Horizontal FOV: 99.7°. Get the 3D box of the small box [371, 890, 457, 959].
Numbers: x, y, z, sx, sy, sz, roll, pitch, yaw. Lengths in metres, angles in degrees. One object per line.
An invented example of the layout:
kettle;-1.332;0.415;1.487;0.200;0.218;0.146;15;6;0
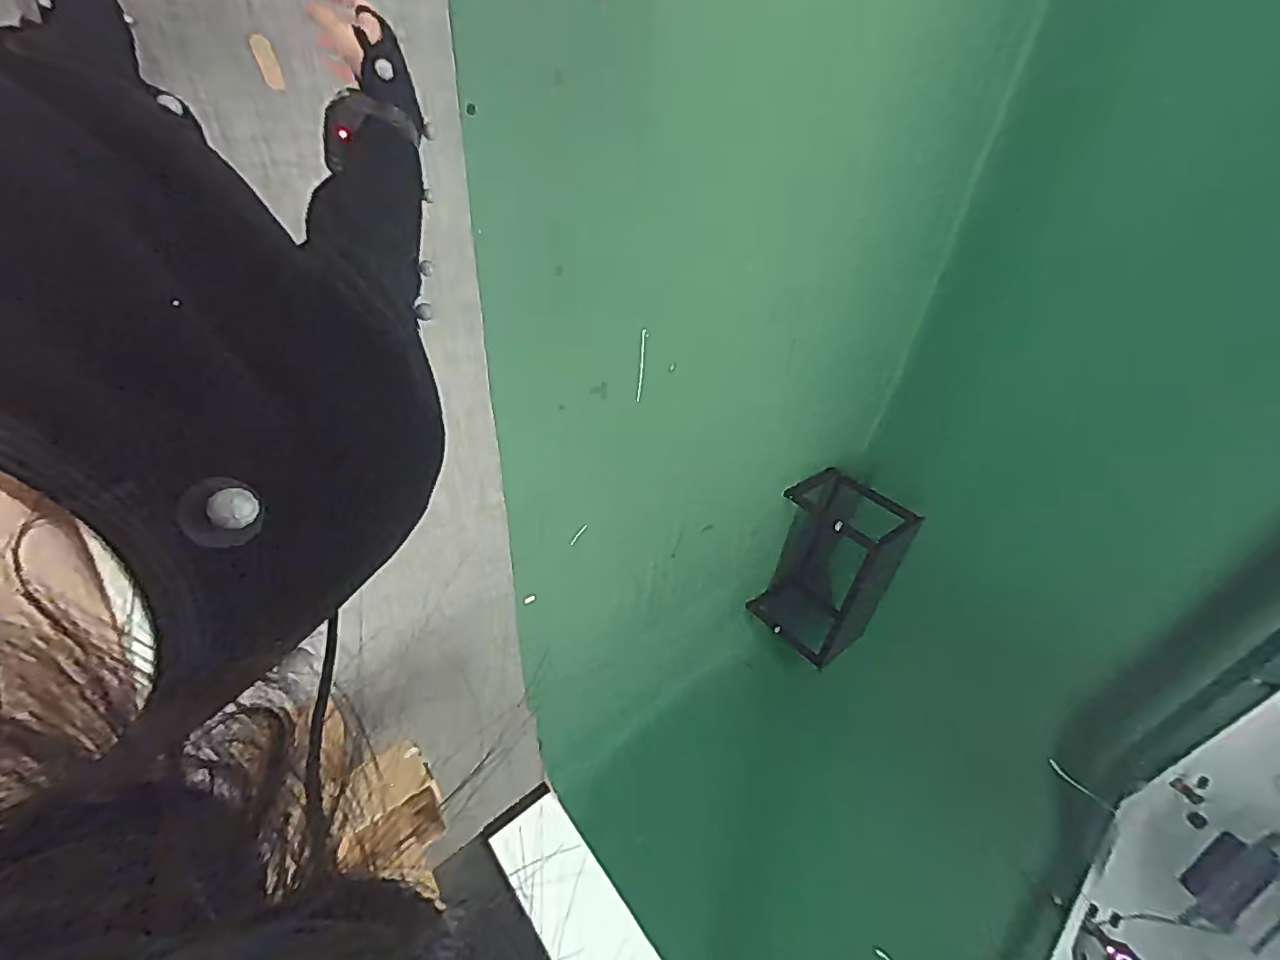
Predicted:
small box;-0.658;1.352;1.578;0.168;0.176;0.179;-25;136;-32
